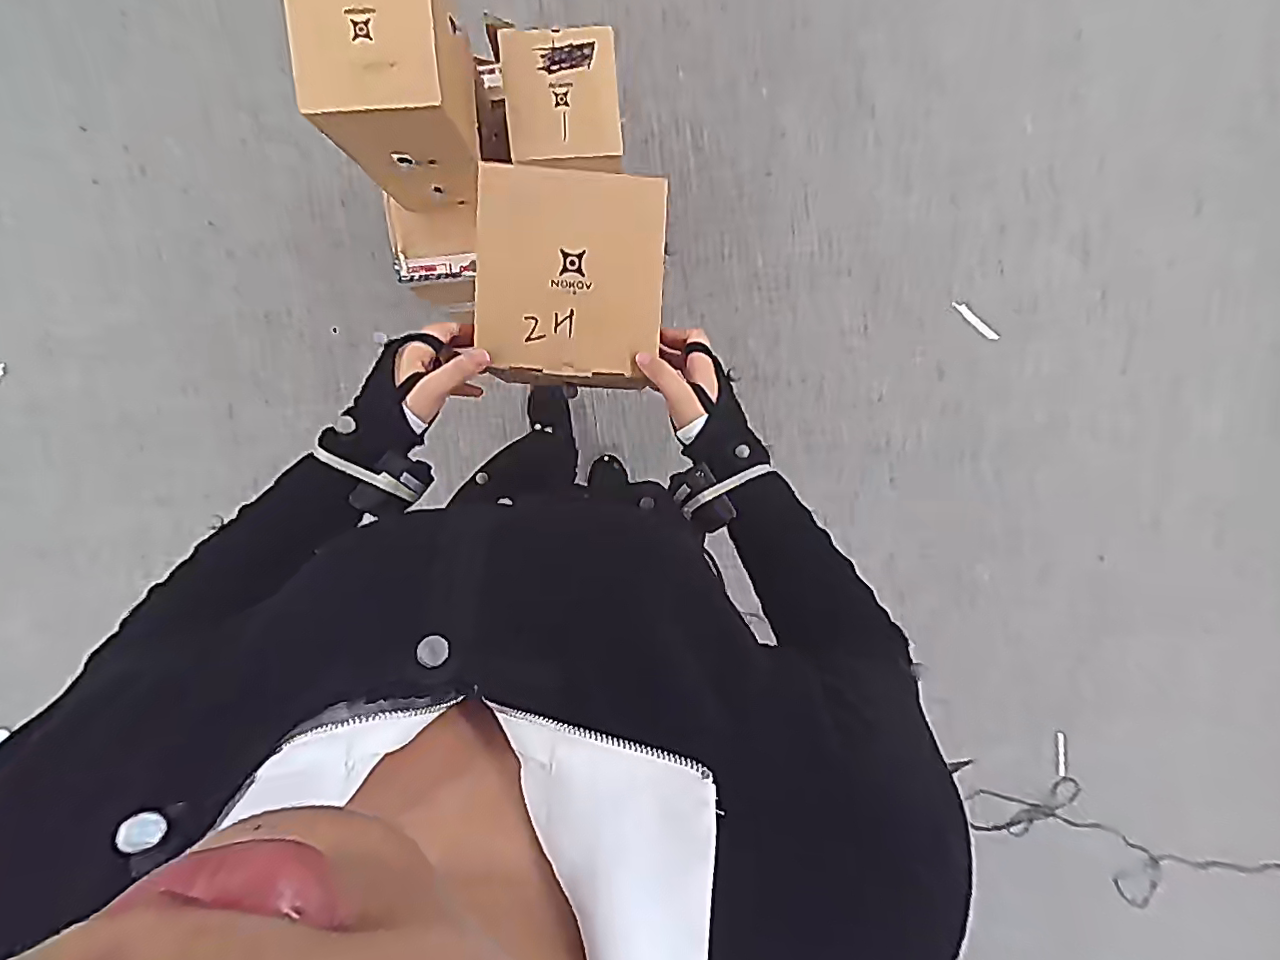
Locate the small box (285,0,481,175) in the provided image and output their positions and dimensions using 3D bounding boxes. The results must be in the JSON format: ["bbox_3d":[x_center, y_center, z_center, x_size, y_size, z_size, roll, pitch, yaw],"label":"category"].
[{"bbox_3d":[-0.310,-0.515,0.681,0.168,0.176,0.179,-4,99,0],"label":"small box"}]

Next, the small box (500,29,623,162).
[{"bbox_3d":[-0.118,-0.560,0.852,0.168,0.176,0.179,-5,98,-4],"label":"small box"}]

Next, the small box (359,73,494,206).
[{"bbox_3d":[-0.327,-0.542,0.842,0.168,0.176,0.179,-4,98,-1],"label":"small box"}]

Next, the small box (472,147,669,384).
[{"bbox_3d":[-0.067,-0.198,0.549,0.168,0.176,0.179,3,95,-5],"label":"small box"}]
